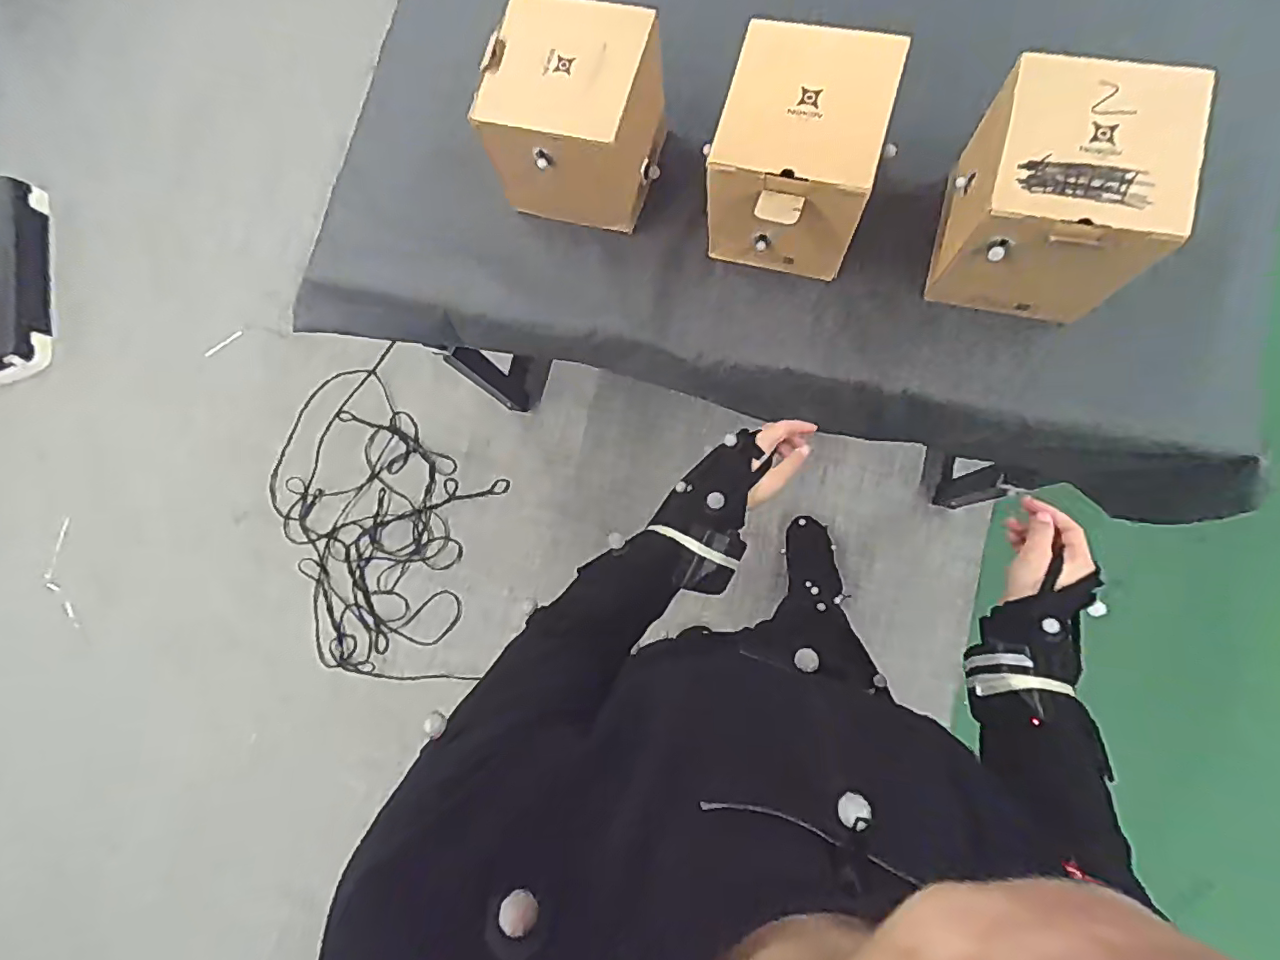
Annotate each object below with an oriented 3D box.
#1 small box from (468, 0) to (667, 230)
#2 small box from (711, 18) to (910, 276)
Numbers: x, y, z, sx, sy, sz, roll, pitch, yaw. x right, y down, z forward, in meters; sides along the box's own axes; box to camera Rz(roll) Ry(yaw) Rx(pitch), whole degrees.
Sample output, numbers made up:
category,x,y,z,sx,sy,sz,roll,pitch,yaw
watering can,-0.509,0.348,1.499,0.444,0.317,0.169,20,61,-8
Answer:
category,x,y,z,sx,sy,sz,roll,pitch,yaw
small box,-0.076,-0.441,0.669,0.179,0.176,0.168,17,84,9
small box,0.181,-0.369,0.624,0.168,0.176,0.179,15,84,10
